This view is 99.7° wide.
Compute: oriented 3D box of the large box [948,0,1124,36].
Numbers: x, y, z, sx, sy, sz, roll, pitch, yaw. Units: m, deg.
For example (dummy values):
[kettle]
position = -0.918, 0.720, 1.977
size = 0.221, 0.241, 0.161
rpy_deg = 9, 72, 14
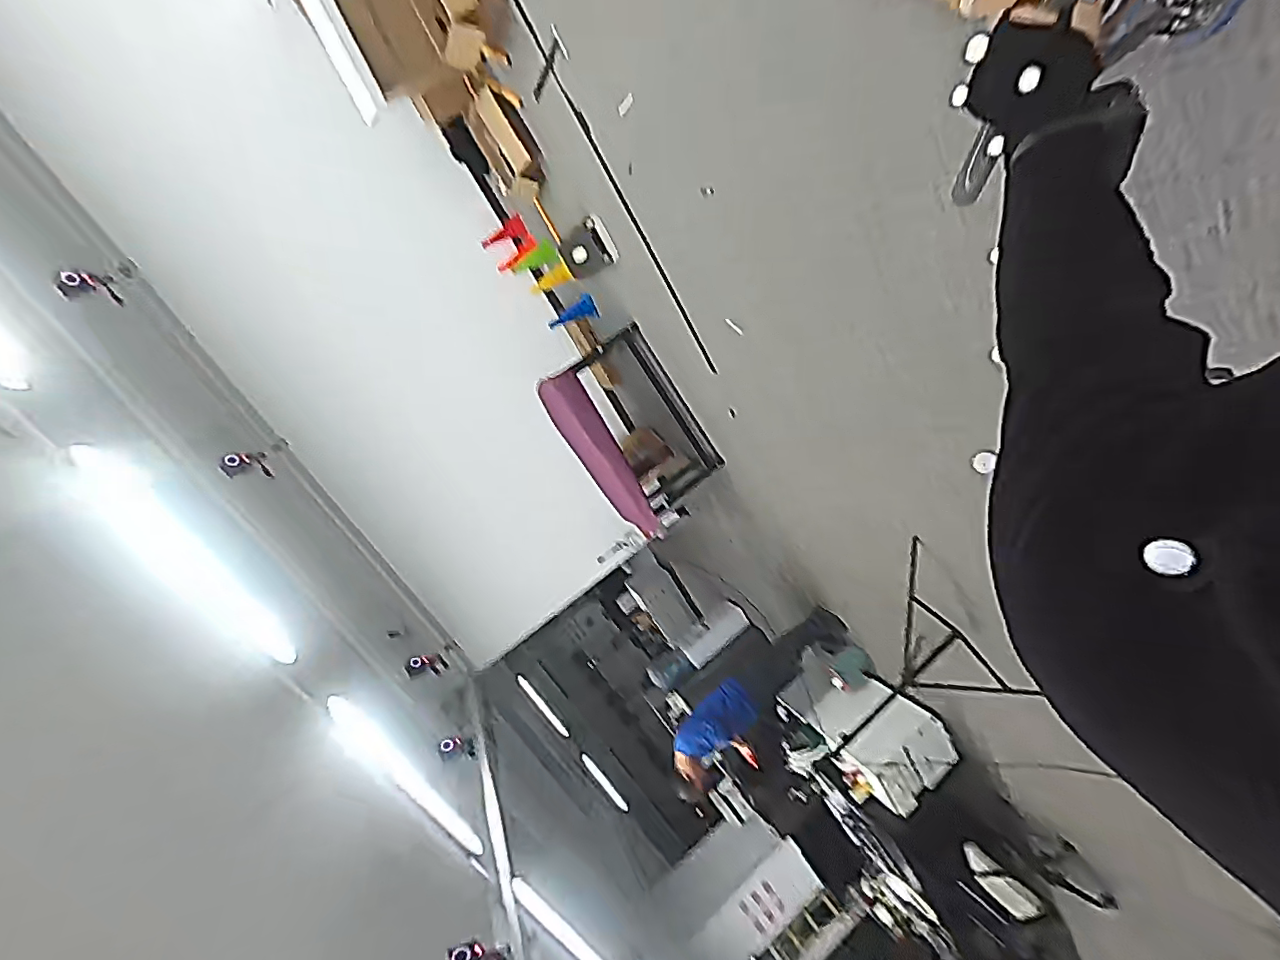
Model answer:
[large box]
position = 0.596, -0.888, 0.676
size = 0.320, 0.320, 0.408
rpy_deg = 46, 164, 25
